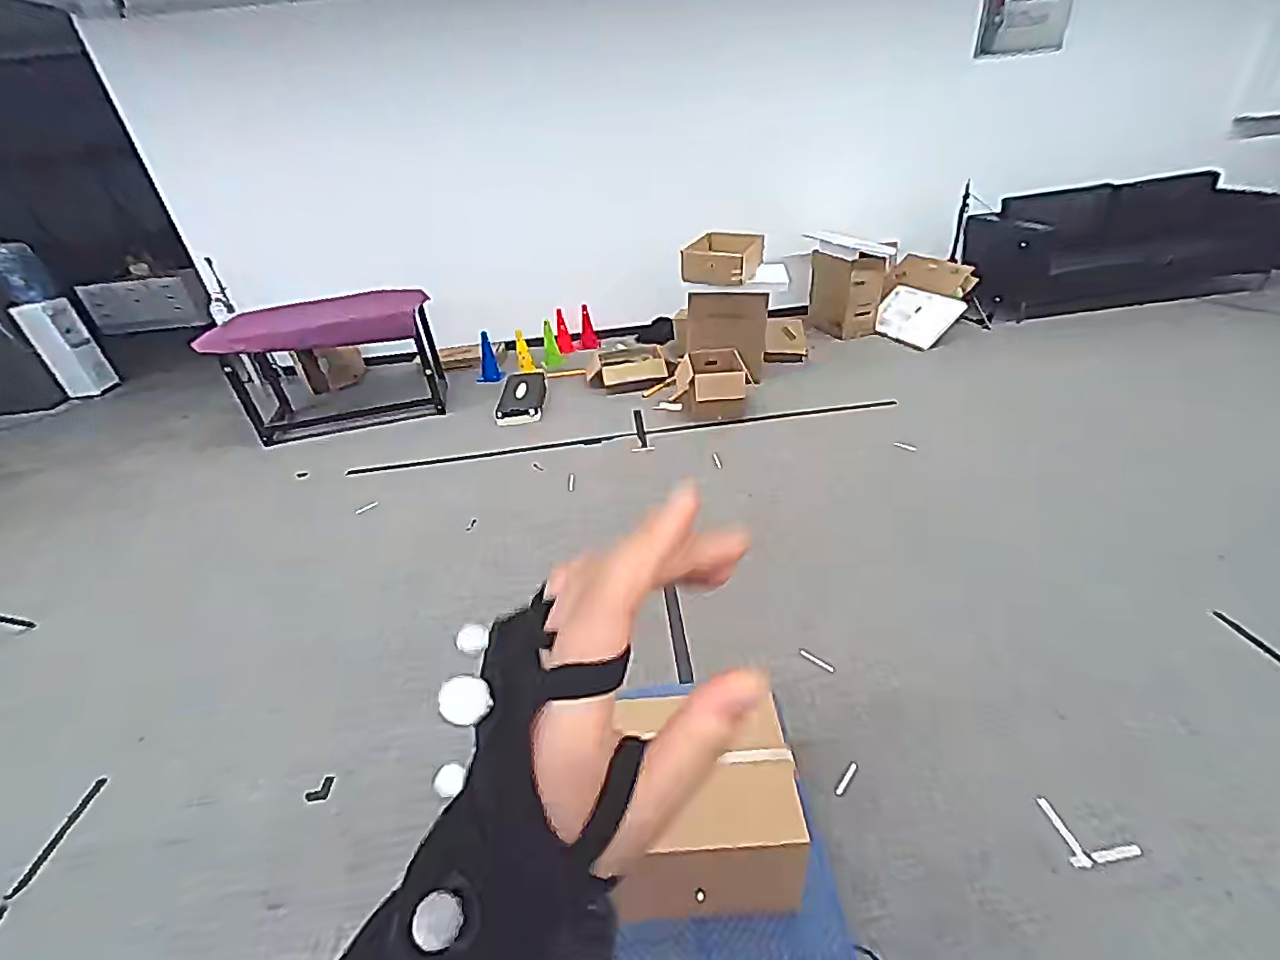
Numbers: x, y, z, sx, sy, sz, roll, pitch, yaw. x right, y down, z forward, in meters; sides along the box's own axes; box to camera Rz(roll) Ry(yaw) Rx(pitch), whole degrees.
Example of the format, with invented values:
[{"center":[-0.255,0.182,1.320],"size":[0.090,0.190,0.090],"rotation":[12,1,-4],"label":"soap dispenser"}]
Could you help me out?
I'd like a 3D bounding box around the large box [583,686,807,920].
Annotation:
[{"center":[0.108,0.684,1.155],"size":[0.408,0.320,0.320],"rotation":[-6,32,2],"label":"large box"}]
